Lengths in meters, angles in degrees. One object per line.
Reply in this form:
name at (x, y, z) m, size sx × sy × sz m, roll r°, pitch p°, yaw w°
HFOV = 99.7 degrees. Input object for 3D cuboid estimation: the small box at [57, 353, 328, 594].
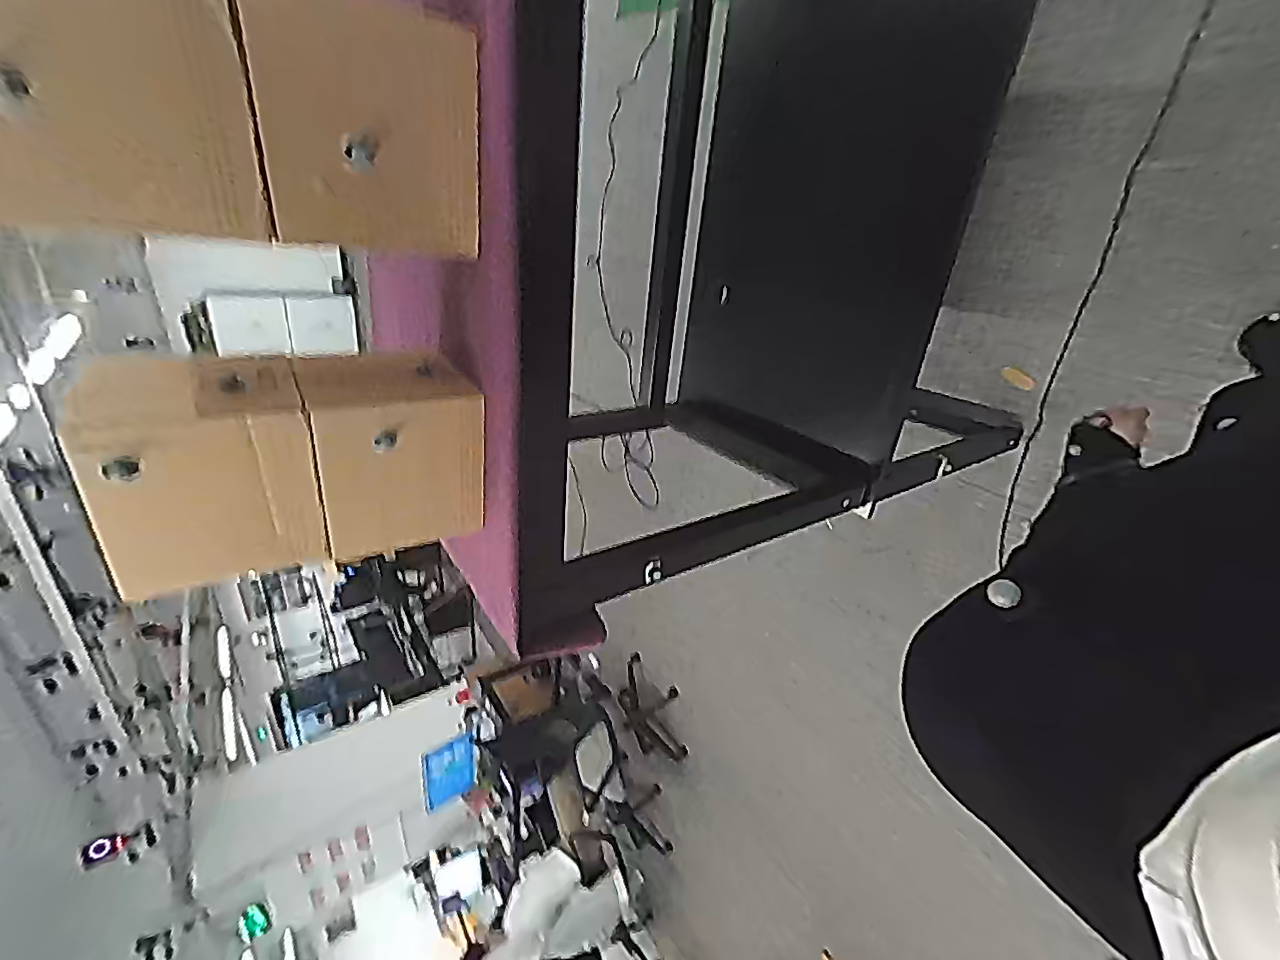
small box at (-0.426, -0.019, 0.546) m, size 0.168 × 0.176 × 0.179 m, roll 40°, pitch 130°, yaw 44°

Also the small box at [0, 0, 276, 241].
small box at (-0.387, -0.287, 0.404) m, size 0.168 × 0.176 × 0.179 m, roll 40°, pitch 131°, yaw 43°

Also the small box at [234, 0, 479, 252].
small box at (-0.253, -0.313, 0.494) m, size 0.168 × 0.176 × 0.179 m, roll 38°, pitch 131°, yaw 44°
